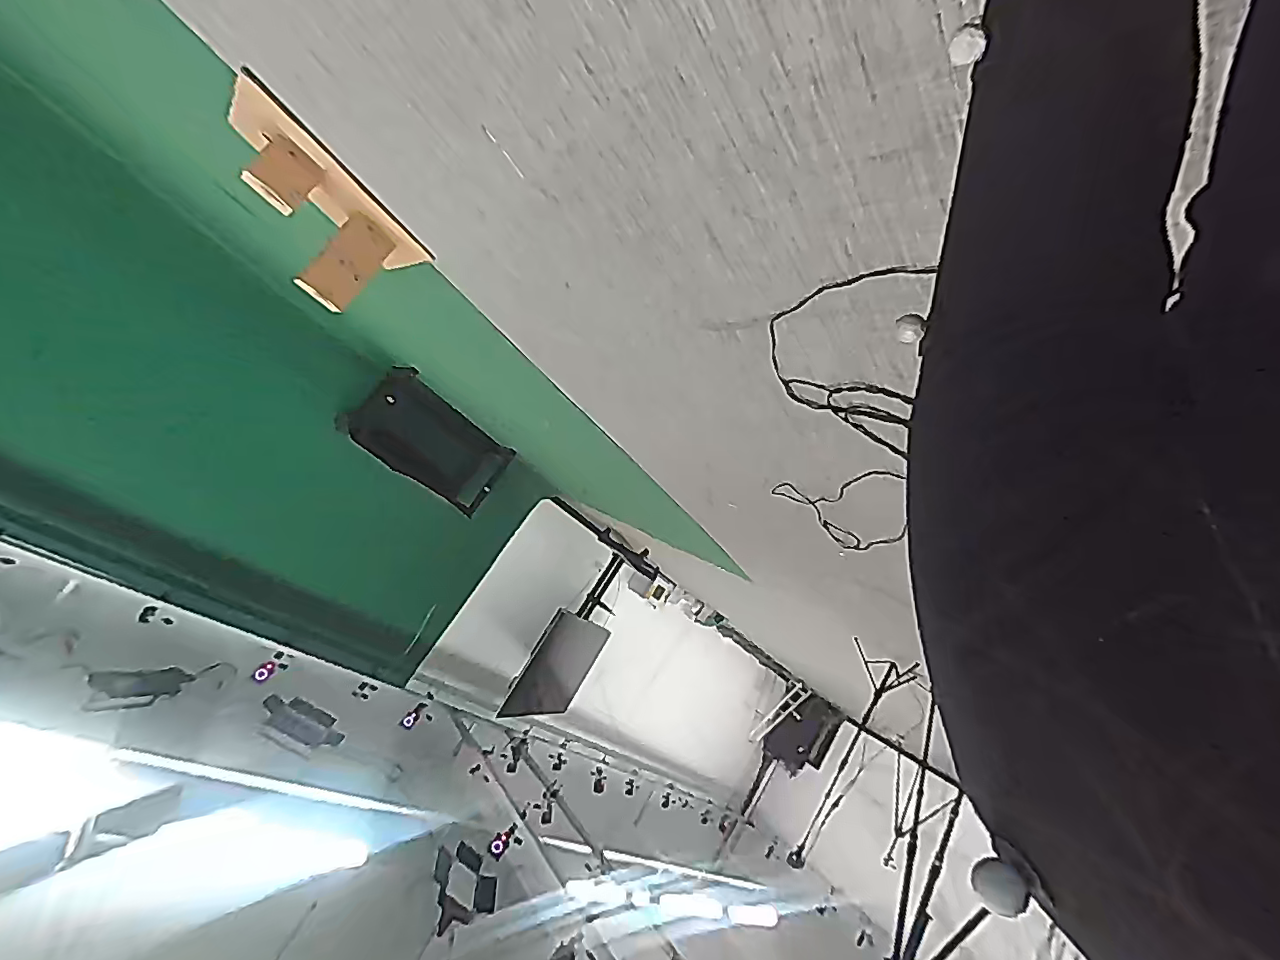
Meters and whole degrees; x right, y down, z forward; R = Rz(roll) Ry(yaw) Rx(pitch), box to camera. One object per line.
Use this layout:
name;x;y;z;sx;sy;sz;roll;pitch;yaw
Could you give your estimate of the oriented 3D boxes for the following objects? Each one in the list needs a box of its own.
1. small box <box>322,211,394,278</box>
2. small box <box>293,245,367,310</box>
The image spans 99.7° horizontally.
small box;-1.082;-0.901;2.078;0.179;0.176;0.168;19;163;49
small box;-1.170;-0.766;2.047;0.179;0.176;0.168;21;164;48
